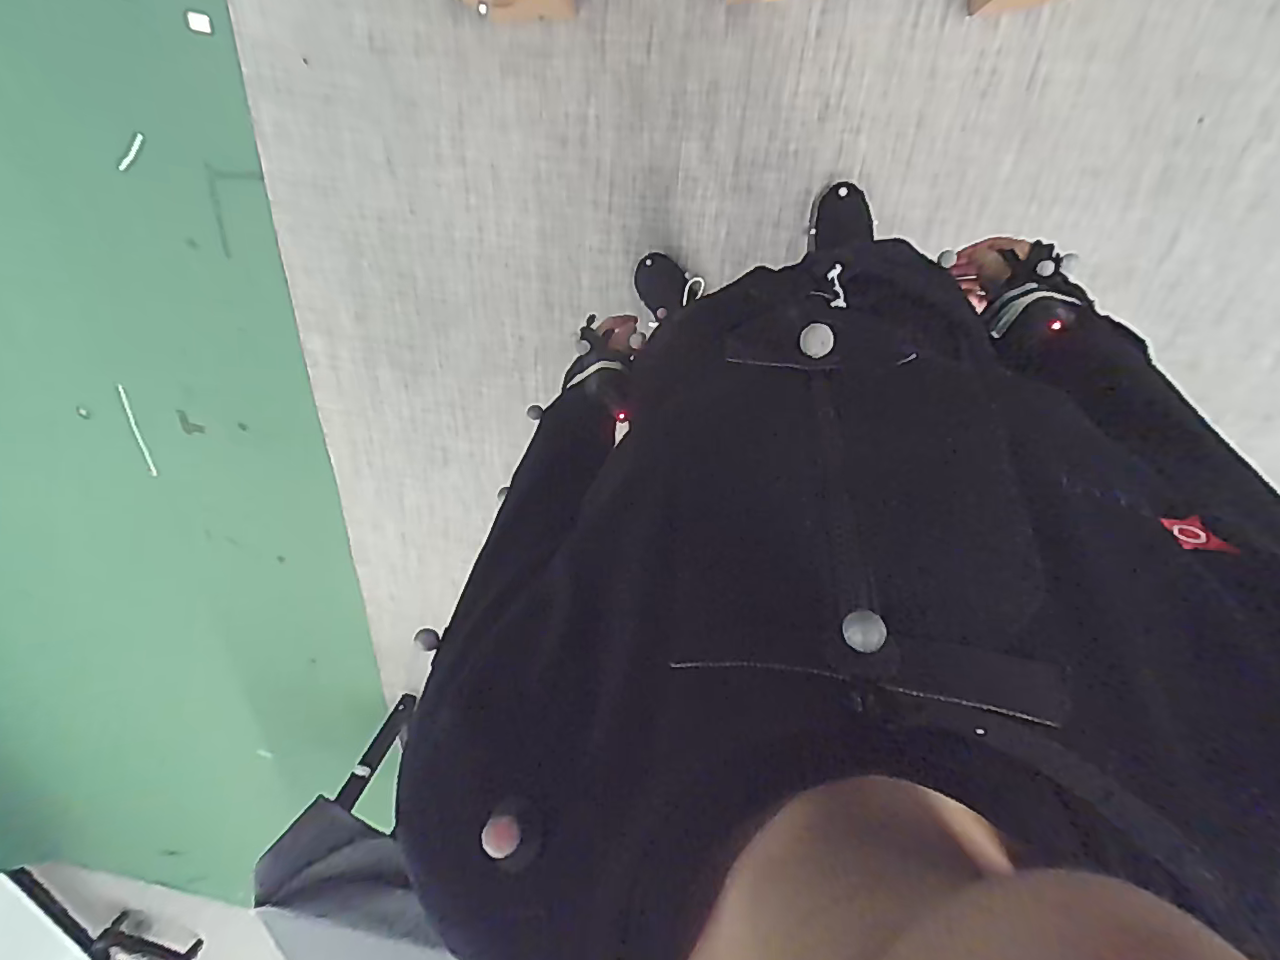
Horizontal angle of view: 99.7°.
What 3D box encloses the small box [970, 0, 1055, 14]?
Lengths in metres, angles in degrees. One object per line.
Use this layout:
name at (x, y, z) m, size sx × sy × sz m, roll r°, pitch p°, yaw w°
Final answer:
small box at (0.626, -0.849, 0.821) m, size 0.168 × 0.176 × 0.179 m, roll -5°, pitch 116°, yaw 11°
